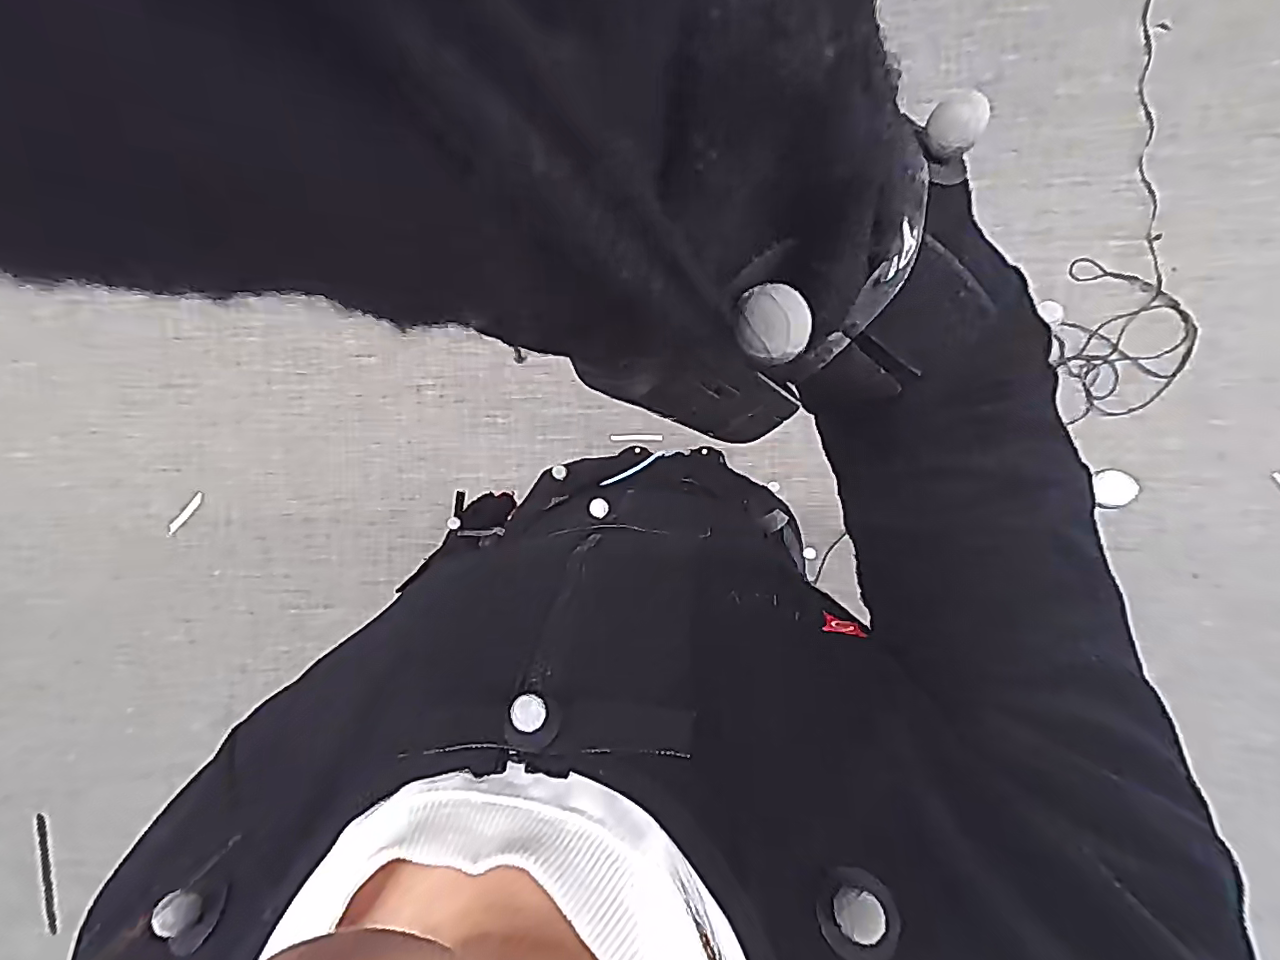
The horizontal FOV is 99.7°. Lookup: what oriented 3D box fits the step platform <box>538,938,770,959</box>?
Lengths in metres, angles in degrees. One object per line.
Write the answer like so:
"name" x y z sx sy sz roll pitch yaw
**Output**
"step platform" 0.033 1.458 1.448 0.684 0.204 0.286 -2 93 6
